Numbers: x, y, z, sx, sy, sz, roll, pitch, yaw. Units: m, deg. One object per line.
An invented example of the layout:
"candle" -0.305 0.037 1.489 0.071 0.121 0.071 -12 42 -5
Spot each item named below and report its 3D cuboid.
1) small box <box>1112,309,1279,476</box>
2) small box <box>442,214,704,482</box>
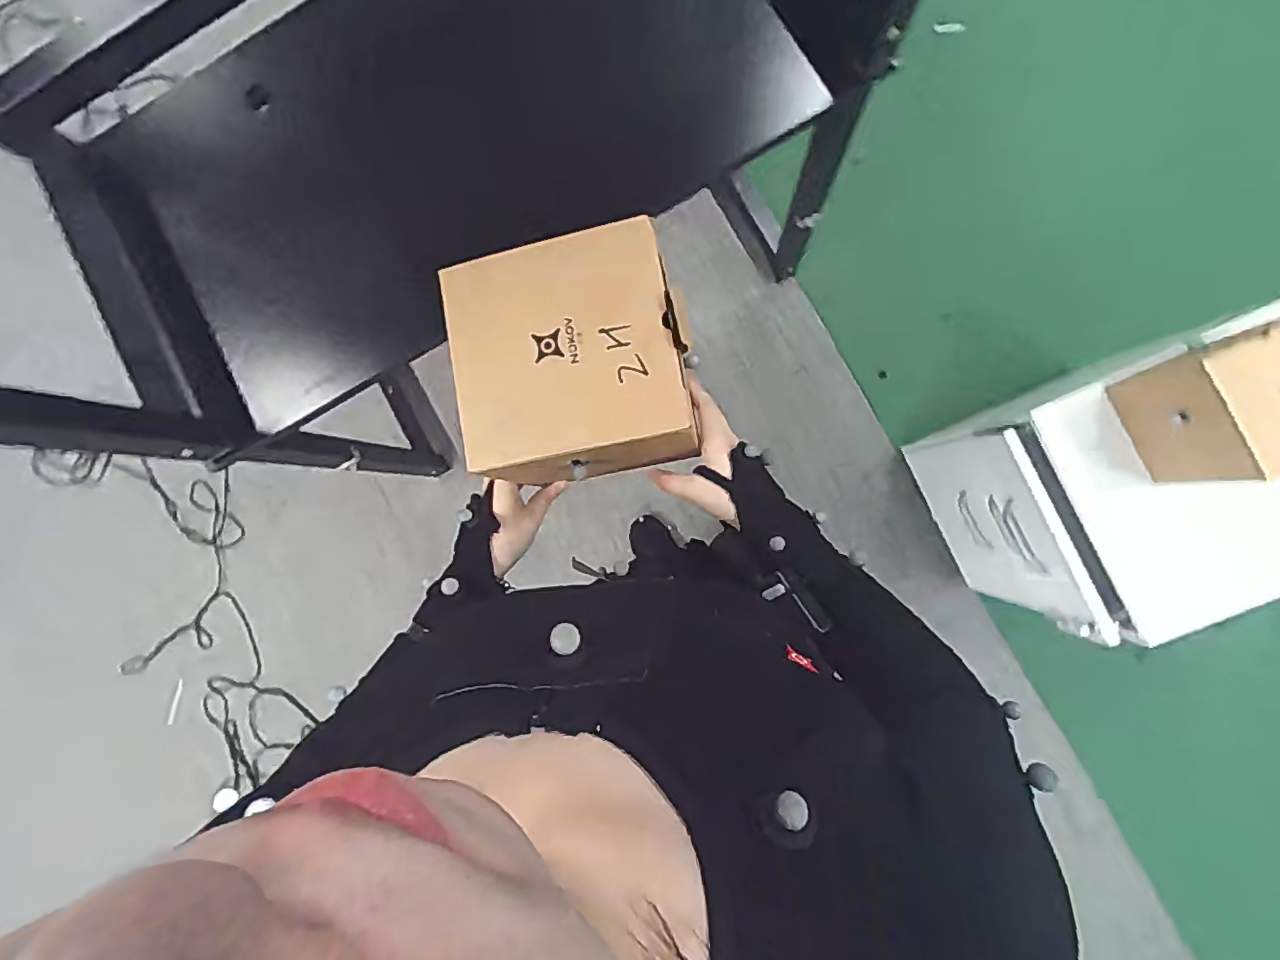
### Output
"small box" 0.818 -0.116 0.742 0.168 0.176 0.179 -26 86 5
"small box" -0.044 -0.094 0.474 0.179 0.176 0.168 -10 85 7
